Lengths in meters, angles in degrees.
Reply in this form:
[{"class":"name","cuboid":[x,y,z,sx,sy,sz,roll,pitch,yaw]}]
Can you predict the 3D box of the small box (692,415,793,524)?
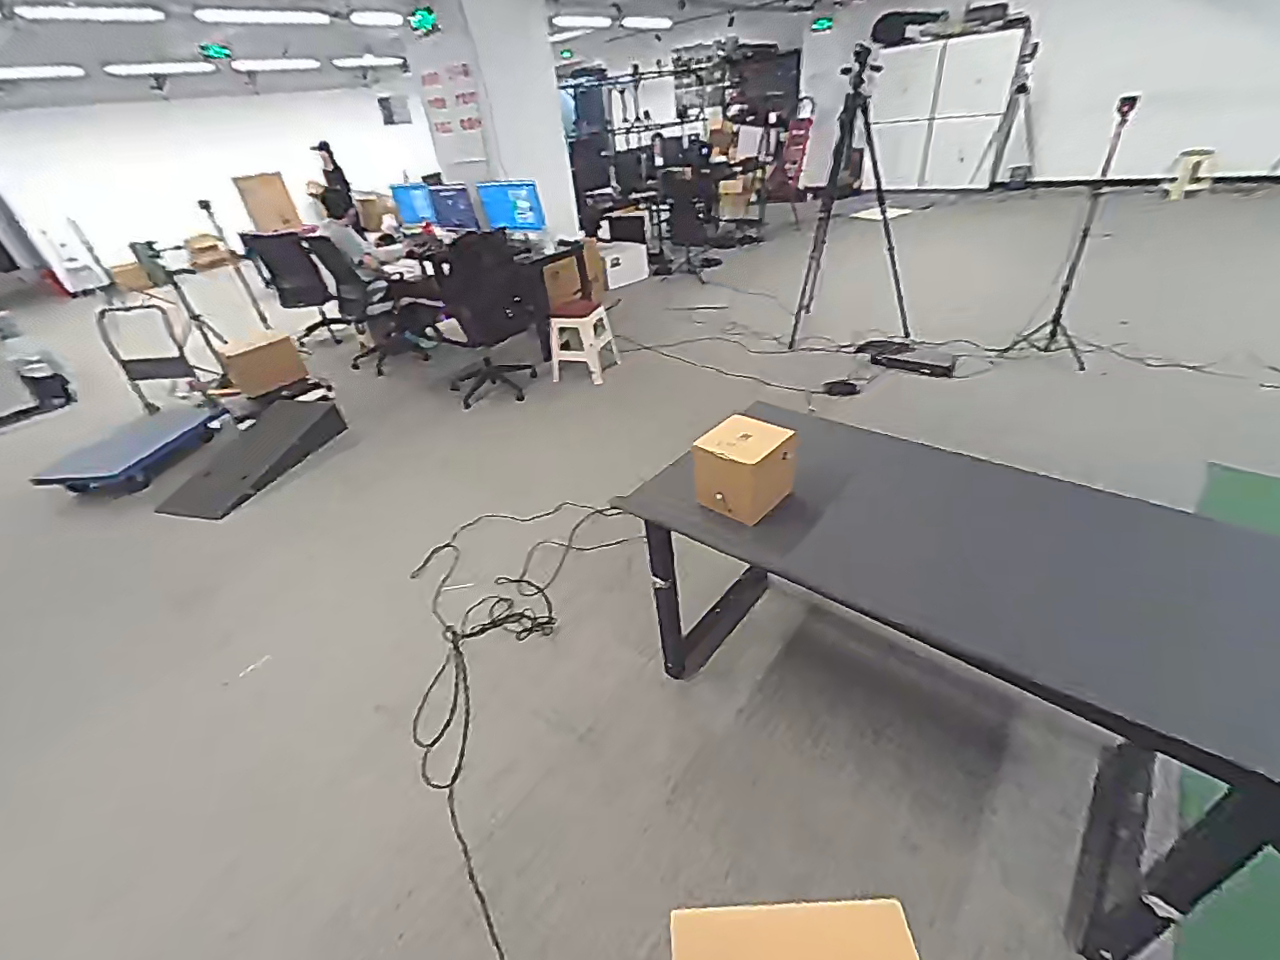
[{"class":"small box","cuboid":[0.237,-0.028,1.271,0.168,0.176,0.179,24,44,37]}]
